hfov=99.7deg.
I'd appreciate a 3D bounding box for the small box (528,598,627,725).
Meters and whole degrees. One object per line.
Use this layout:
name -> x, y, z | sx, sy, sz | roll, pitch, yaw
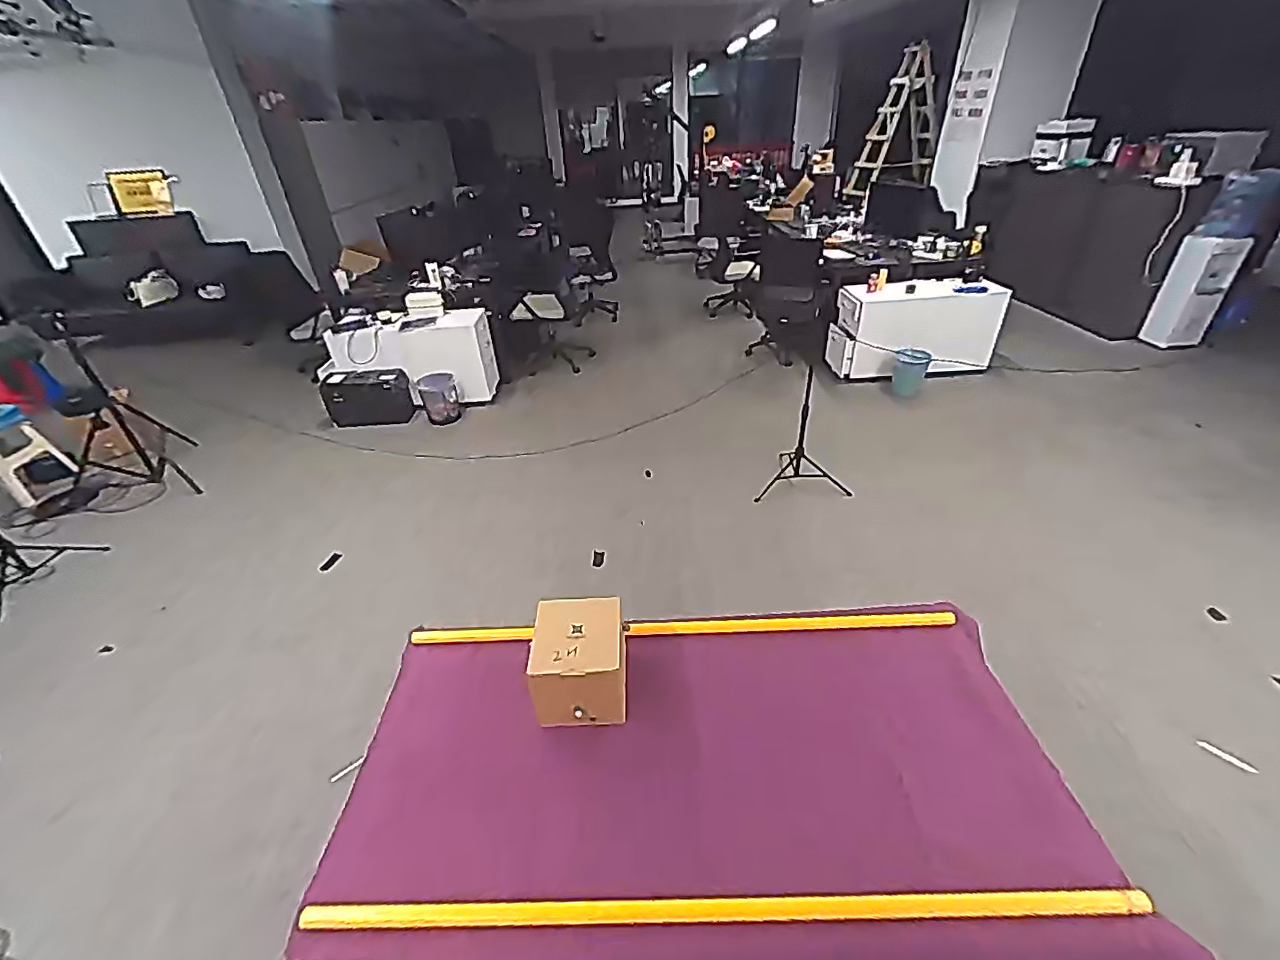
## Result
small box -> -0.114, 0.355, 1.063 | 0.168, 0.176, 0.179 | -3, 35, 1
